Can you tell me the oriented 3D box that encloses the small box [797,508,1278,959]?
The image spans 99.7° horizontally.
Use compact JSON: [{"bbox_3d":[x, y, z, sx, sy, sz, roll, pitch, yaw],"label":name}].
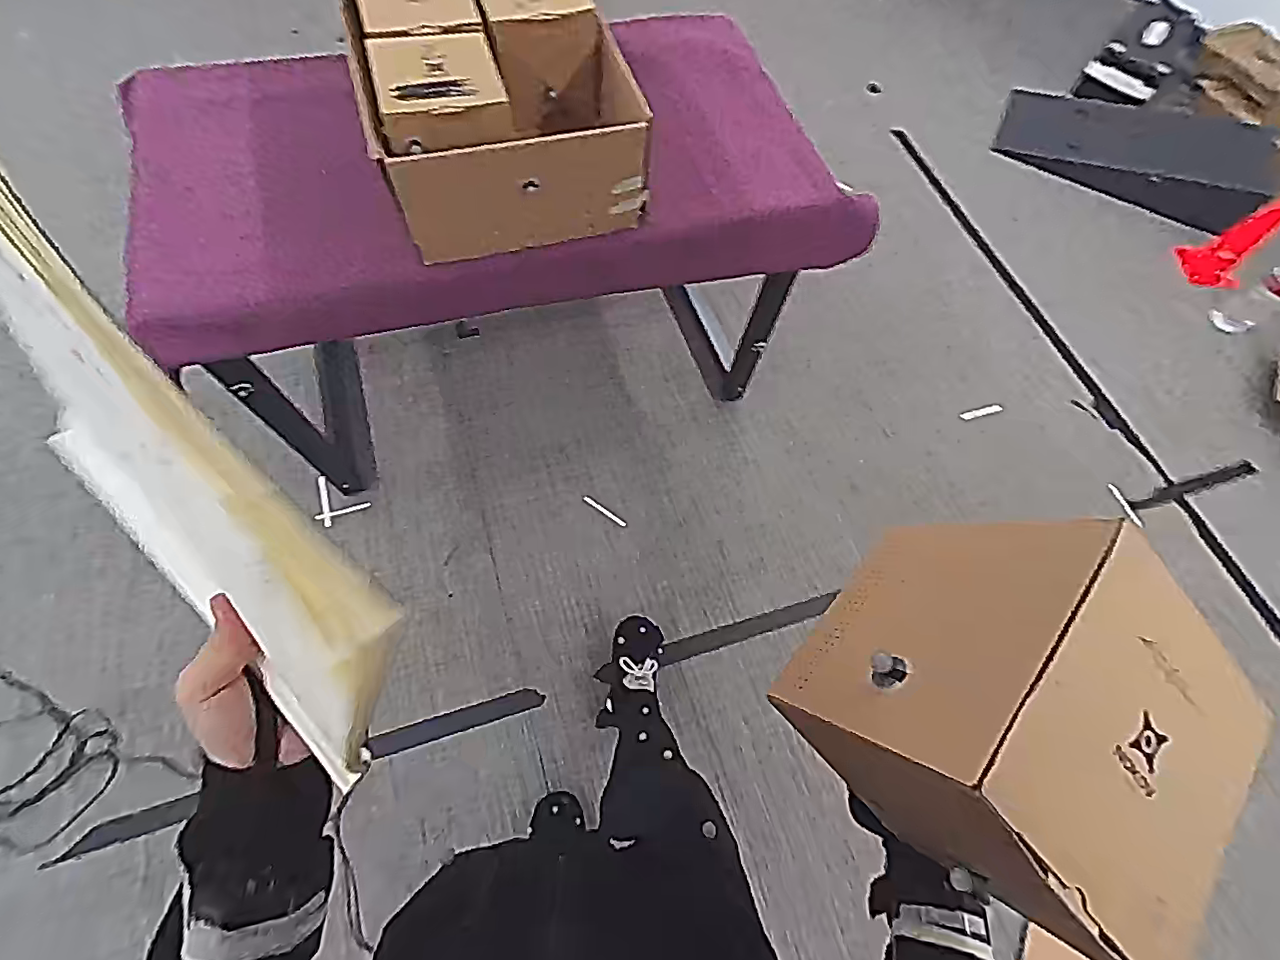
[{"bbox_3d":[0.231,0.139,0.348,0.168,0.176,0.179,48,70,-10],"label":"small box"}]
